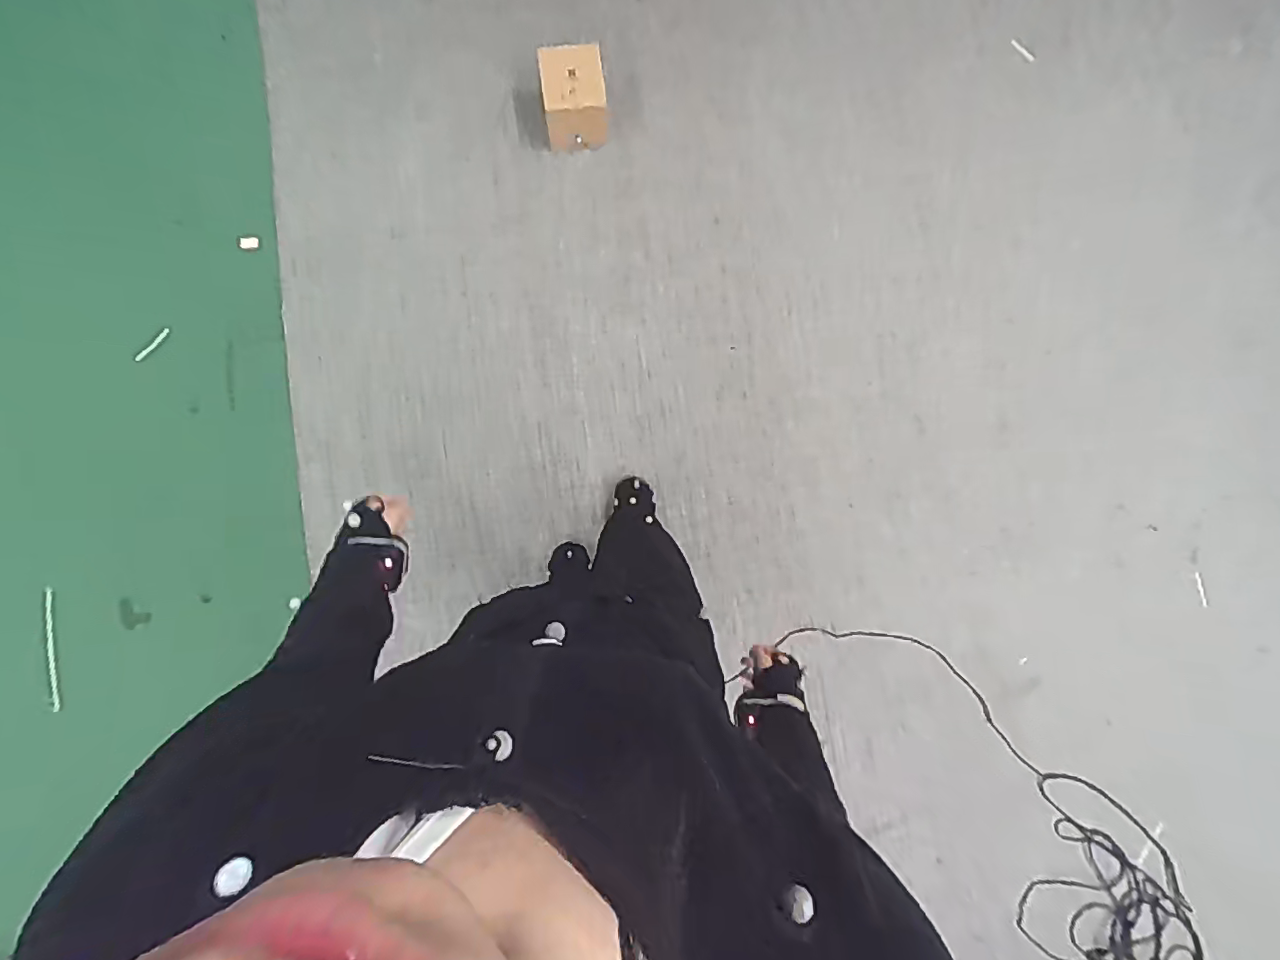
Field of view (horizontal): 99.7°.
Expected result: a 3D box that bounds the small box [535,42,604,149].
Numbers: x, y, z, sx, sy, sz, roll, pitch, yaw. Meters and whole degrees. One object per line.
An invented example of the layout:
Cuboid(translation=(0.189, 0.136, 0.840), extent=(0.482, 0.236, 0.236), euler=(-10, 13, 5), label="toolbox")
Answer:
Cuboid(translation=(-0.191, -1.053, 1.489), extent=(0.168, 0.176, 0.179), euler=(-7, 88, -4), label="small box")
